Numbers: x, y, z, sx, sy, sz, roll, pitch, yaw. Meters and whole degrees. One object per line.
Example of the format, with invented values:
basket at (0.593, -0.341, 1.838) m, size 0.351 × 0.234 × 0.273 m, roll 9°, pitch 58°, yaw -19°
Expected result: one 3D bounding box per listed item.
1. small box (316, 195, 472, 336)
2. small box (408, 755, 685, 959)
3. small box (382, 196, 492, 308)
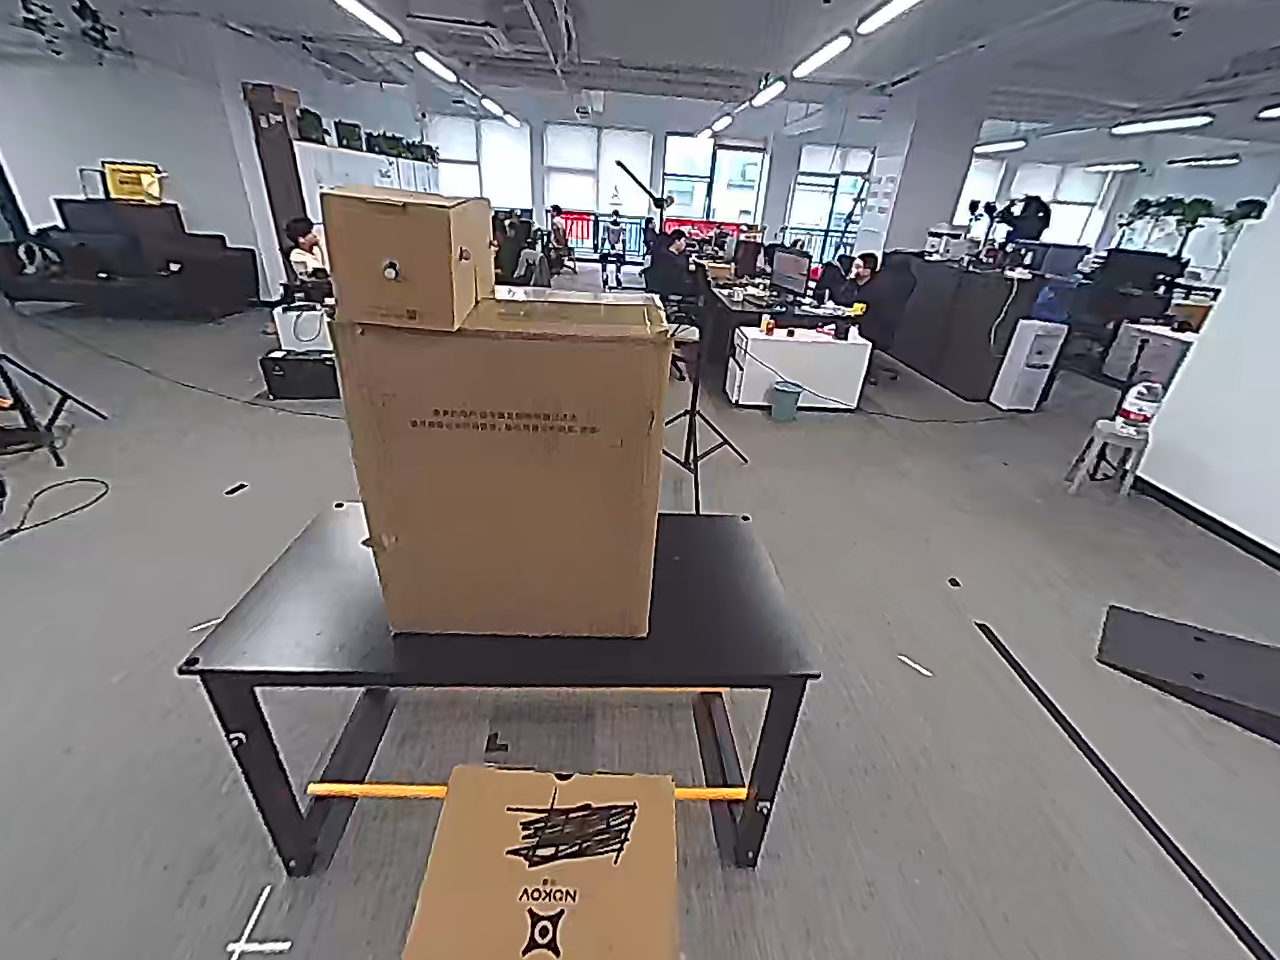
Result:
small box at (-0.352, -0.324, 0.815) m, size 0.168 × 0.176 × 0.179 m, roll 3°, pitch 30°, yaw -8°
small box at (-0.060, 0.328, 0.391) m, size 0.168 × 0.176 × 0.179 m, roll 3°, pitch 40°, yaw -2°
small box at (-0.369, -0.414, 0.985) m, size 0.168 × 0.176 × 0.179 m, roll 1°, pitch 27°, yaw -5°
